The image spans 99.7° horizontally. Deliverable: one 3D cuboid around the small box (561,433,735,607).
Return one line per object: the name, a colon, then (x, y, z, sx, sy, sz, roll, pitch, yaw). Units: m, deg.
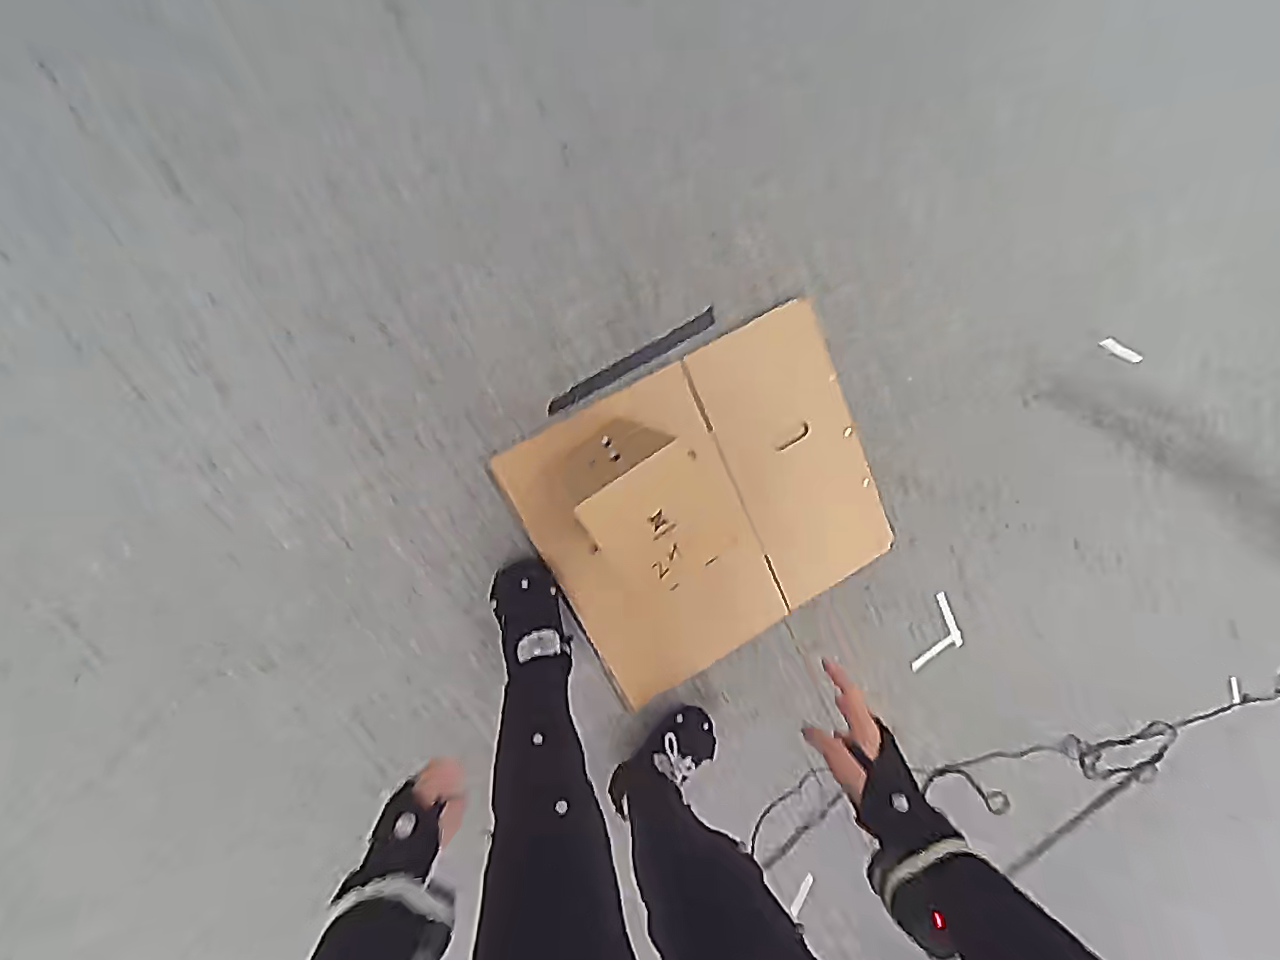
small box: (0.001, 0.044, 0.784, 0.168, 0.176, 0.179, -35, 108, -6)

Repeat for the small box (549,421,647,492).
small box: (-0.039, 0.013, 0.941, 0.168, 0.176, 0.179, -37, 109, -7)
